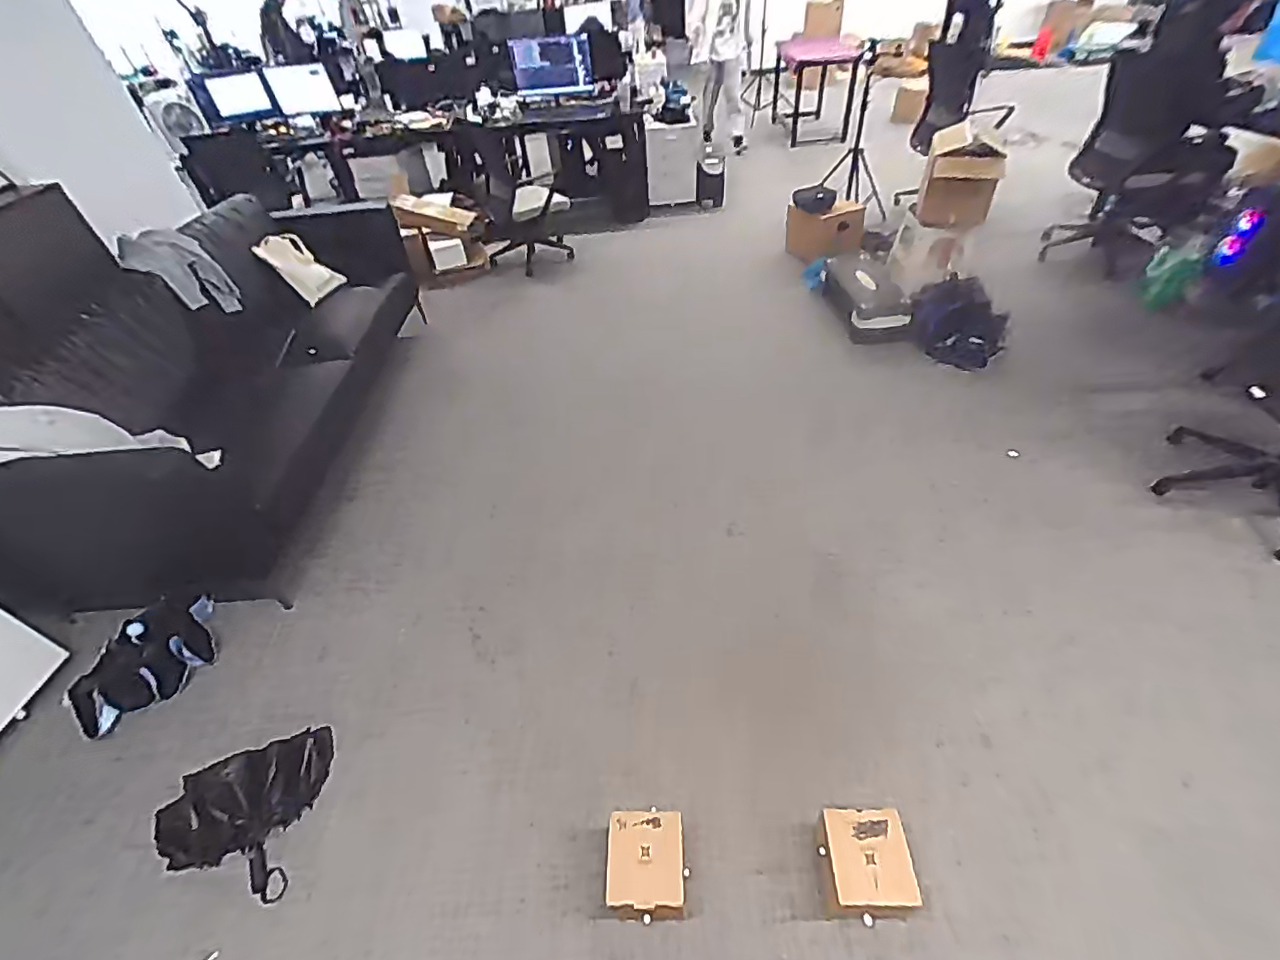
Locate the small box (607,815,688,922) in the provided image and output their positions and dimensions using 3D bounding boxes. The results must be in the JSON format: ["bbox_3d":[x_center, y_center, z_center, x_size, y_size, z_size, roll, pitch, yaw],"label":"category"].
[{"bbox_3d":[0.022,0.885,1.230,0.168,0.176,0.179,-3,43,4],"label":"small box"}]

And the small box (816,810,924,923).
[{"bbox_3d":[0.497,0.856,1.199,0.168,0.176,0.179,-3,45,5],"label":"small box"}]
